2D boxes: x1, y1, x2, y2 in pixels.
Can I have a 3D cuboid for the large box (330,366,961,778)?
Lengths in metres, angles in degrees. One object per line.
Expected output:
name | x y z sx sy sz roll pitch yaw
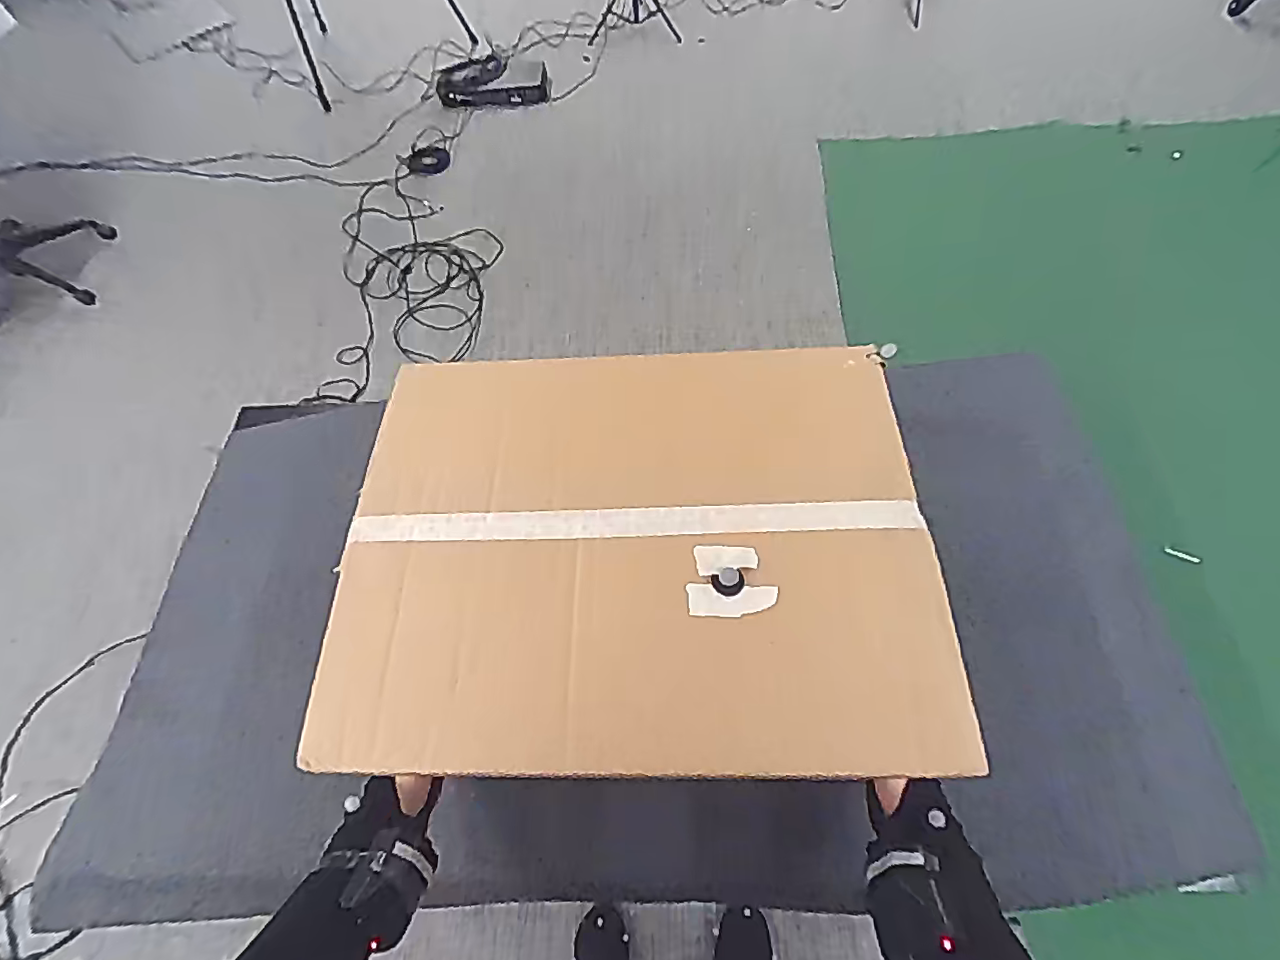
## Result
large box | 0.004 0.114 0.535 0.408 0.320 0.320 -2 62 3
